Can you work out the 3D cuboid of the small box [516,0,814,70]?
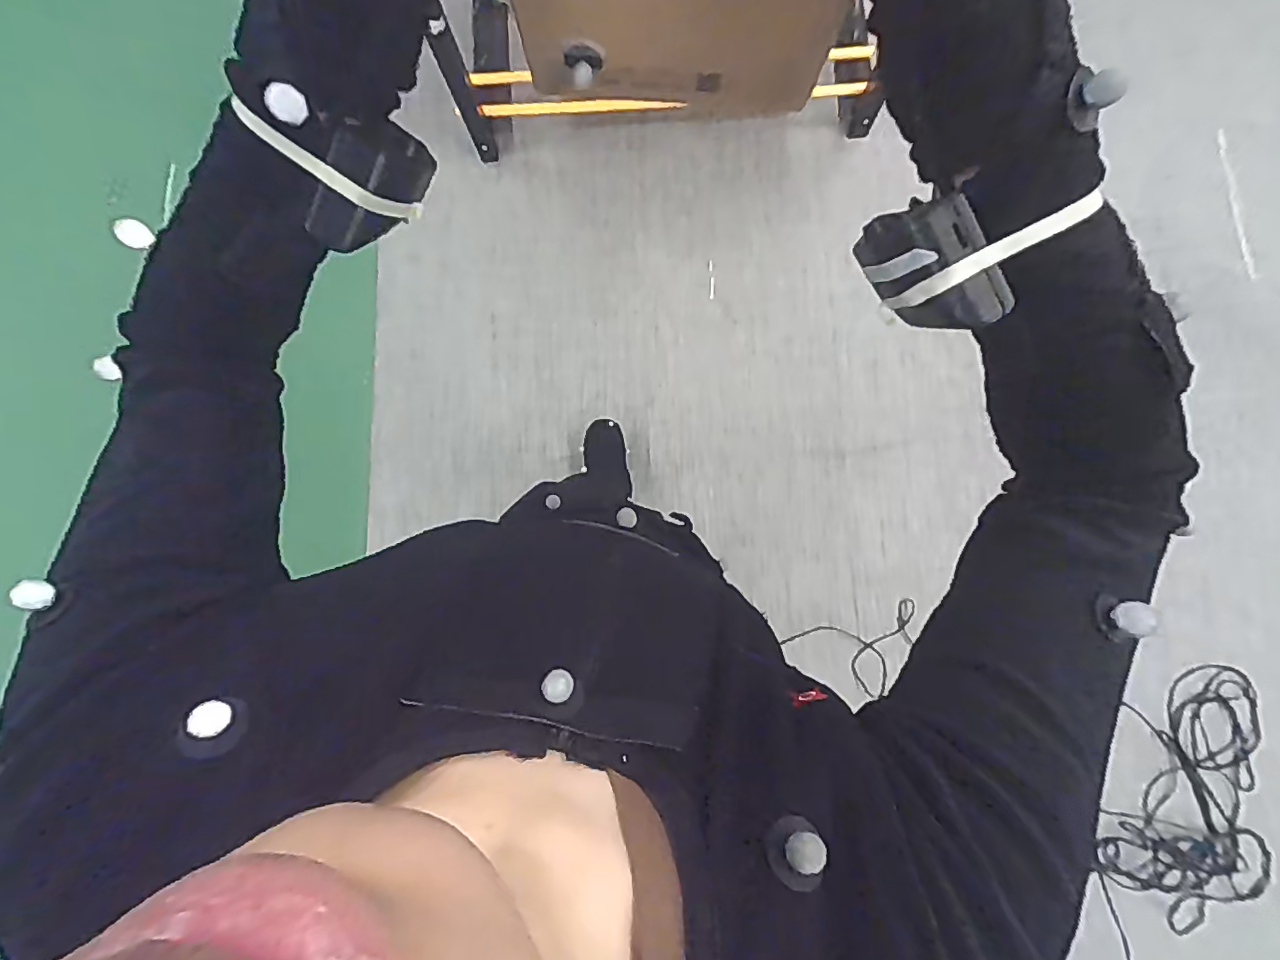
[{"bbox_3d":[0.015,-0.331,0.244,0.168,0.176,0.179,4,88,0],"label":"small box"}]
